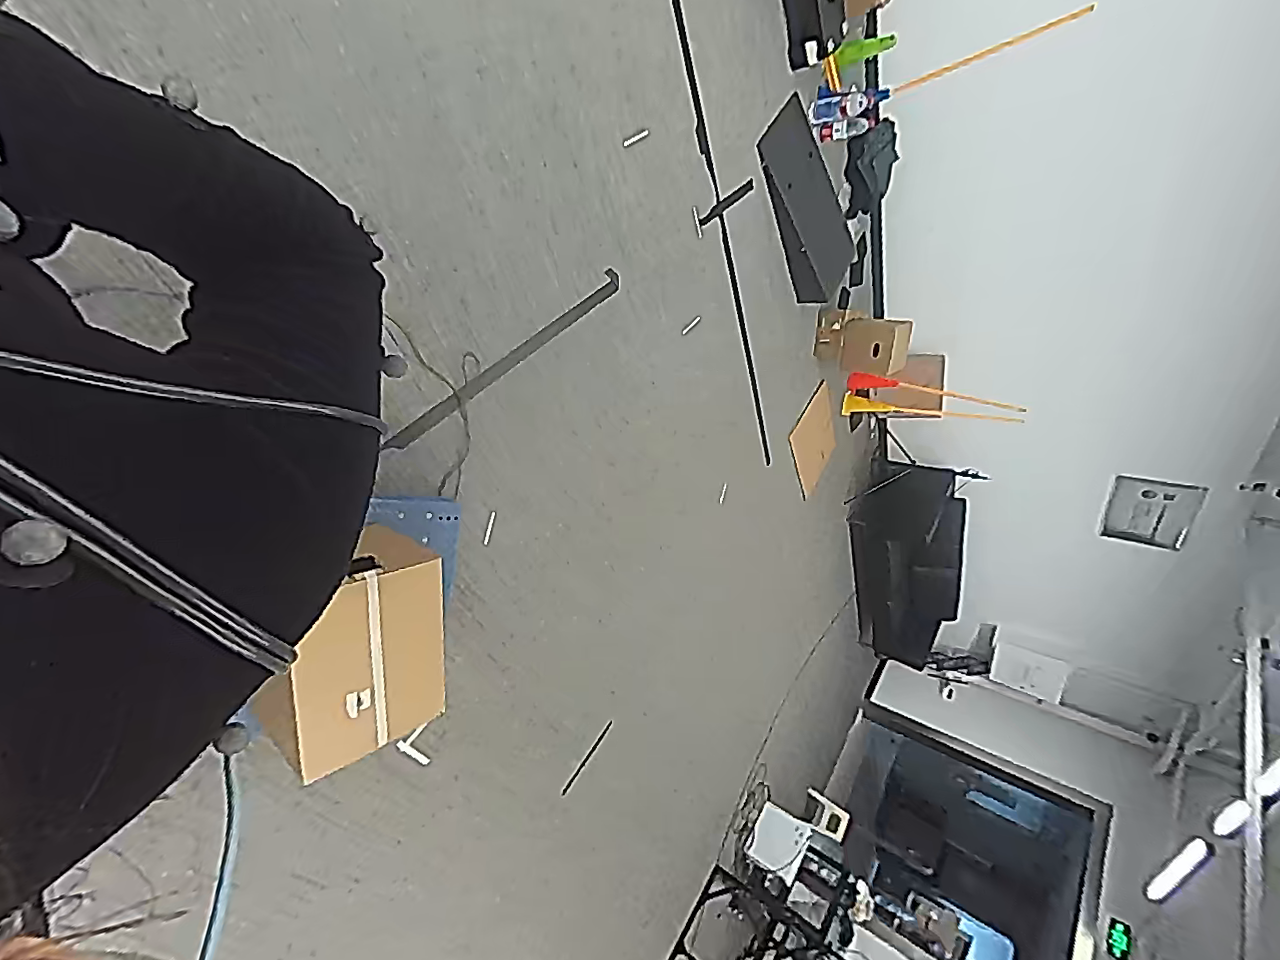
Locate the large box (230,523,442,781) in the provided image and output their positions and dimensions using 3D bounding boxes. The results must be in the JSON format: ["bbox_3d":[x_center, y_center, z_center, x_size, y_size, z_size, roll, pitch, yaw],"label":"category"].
[{"bbox_3d":[-0.672,0.350,1.216,0.320,0.320,0.408,-12,111,-49],"label":"large box"}]
